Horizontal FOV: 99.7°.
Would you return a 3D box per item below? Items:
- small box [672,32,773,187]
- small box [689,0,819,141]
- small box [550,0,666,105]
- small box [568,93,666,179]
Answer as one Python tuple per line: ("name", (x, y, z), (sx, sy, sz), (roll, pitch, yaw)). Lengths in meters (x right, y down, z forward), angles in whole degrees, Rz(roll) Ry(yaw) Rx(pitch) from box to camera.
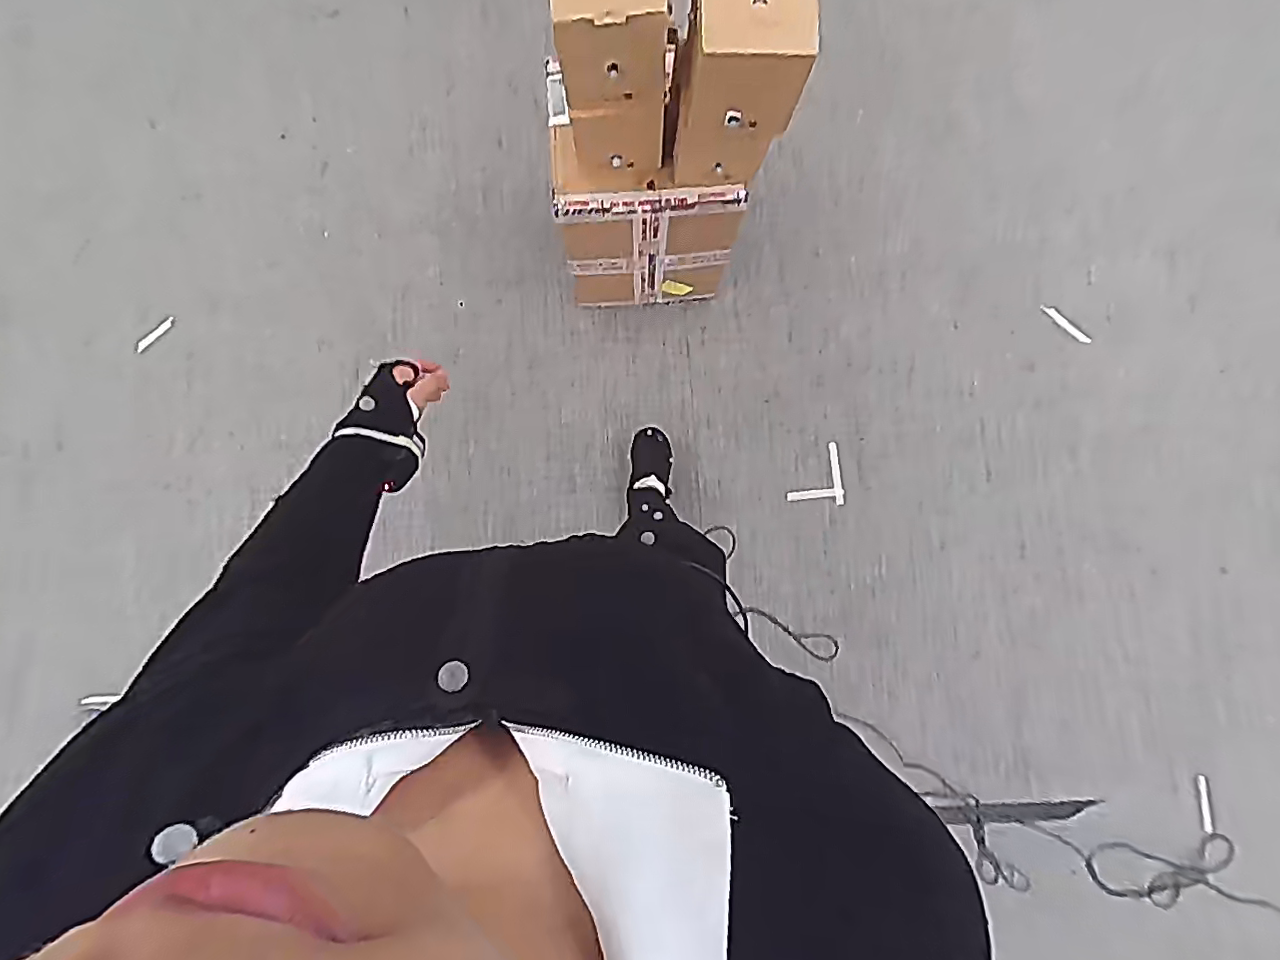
("small box", (0.149, -0.676, 0.999), (0.168, 0.176, 0.179), (-3, 87, -1))
("small box", (0.167, -0.664, 0.837), (0.168, 0.176, 0.179), (-2, 87, 0))
("small box", (-0.044, -0.716, 0.837), (0.168, 0.176, 0.179), (-3, 88, 1))
("small box", (-0.044, -0.695, 1.000), (0.168, 0.176, 0.179), (-6, 88, 1))
